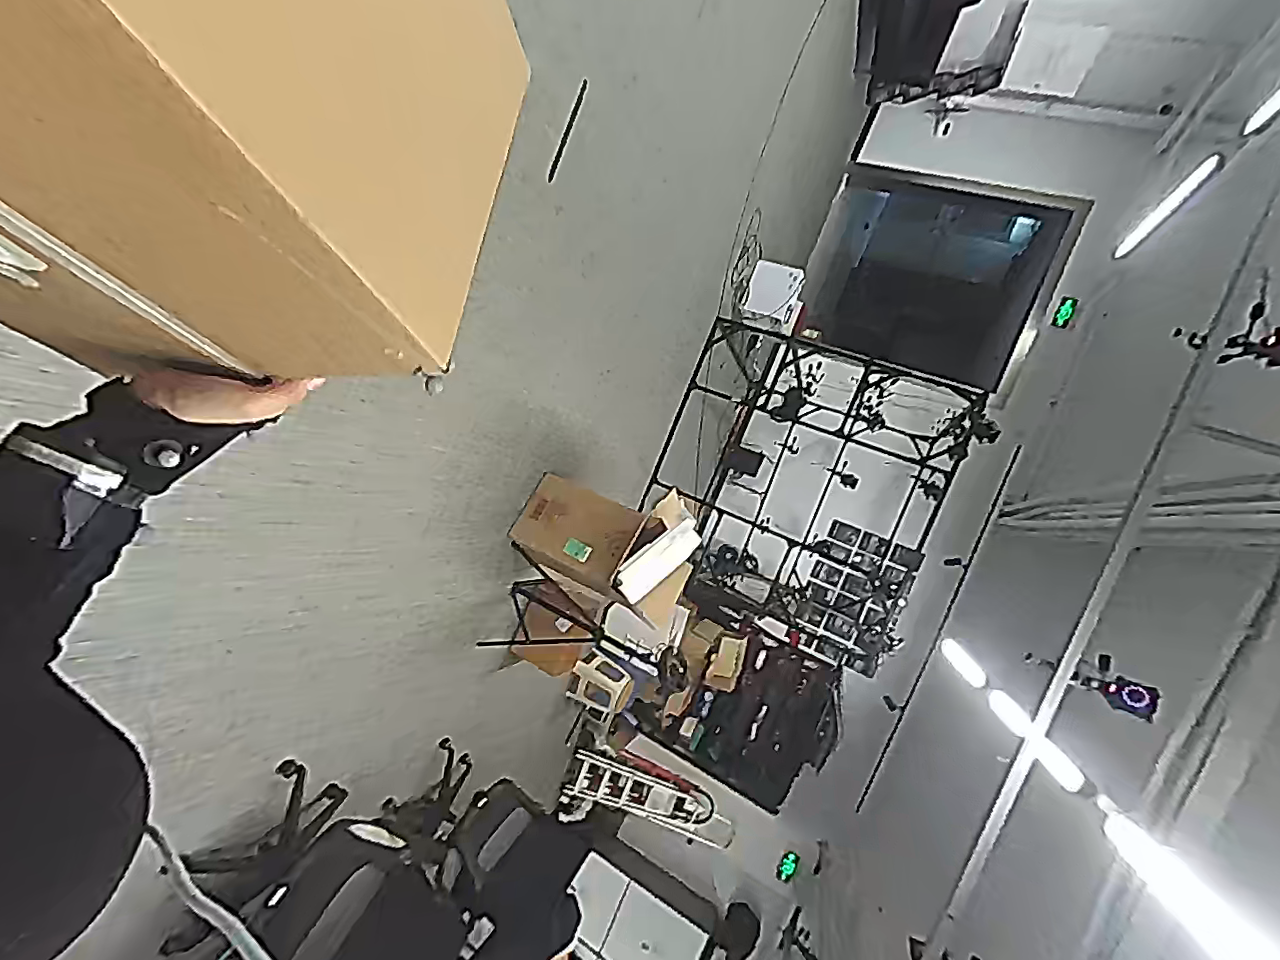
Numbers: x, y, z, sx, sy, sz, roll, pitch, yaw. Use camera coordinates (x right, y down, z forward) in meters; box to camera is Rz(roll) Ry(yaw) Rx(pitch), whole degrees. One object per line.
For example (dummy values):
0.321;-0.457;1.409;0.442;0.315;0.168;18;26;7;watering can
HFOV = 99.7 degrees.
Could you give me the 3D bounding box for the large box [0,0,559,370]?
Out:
-0.270;-0.300;0.274;0.408;0.320;0.320;63;33;-65;large box
